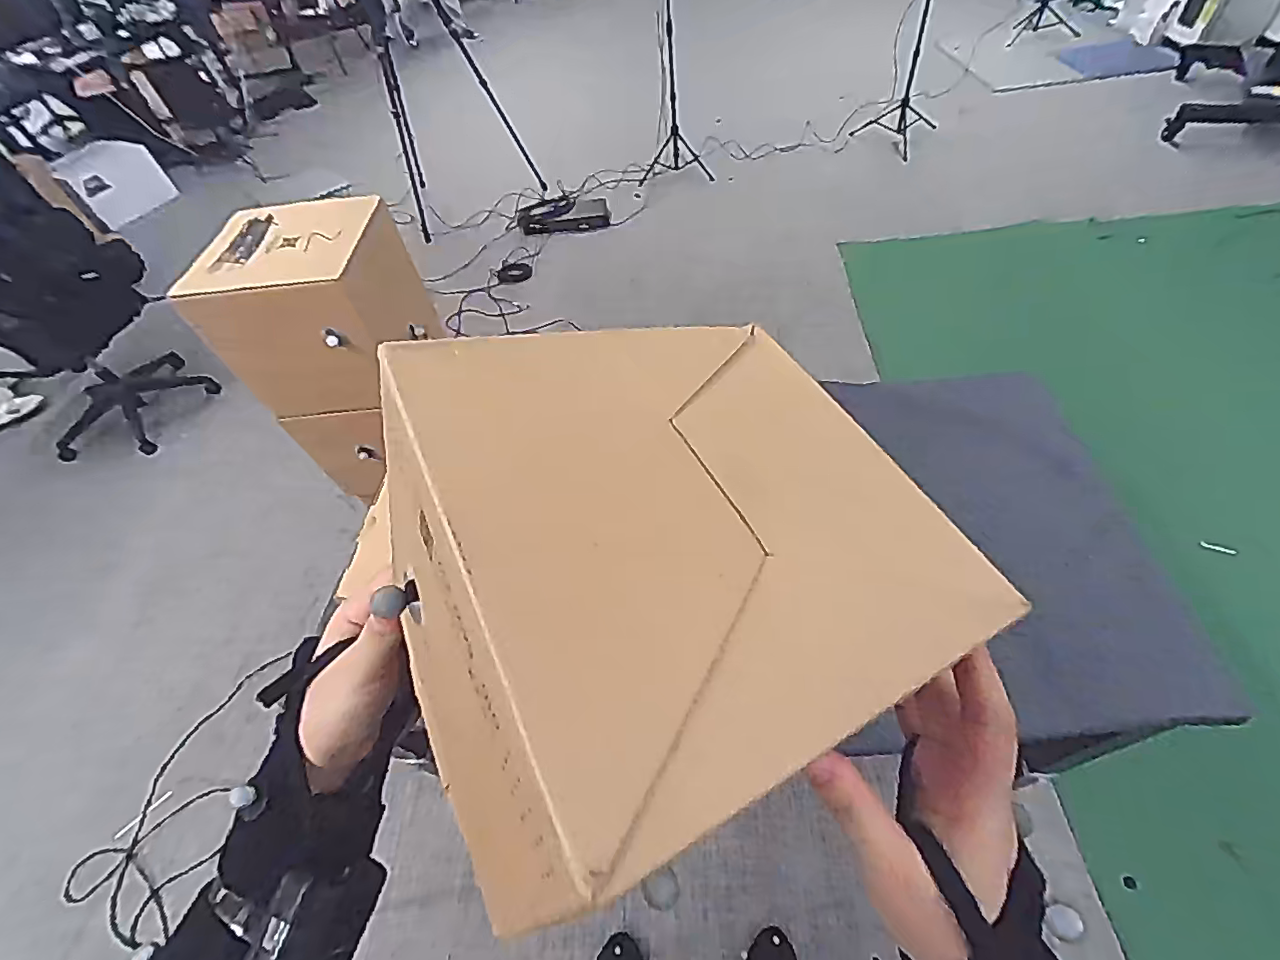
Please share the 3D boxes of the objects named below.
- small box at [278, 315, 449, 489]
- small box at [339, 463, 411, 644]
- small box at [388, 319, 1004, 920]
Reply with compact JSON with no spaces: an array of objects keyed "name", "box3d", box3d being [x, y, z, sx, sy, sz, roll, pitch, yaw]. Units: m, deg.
[{"name":"small box","box3d":[-0.347,-0.104,0.759,0.179,0.176,0.168,-6,54,5]},{"name":"small box","box3d":[-0.176,0.083,0.591,0.179,0.176,0.168,-2,53,7]},{"name":"small box","box3d":[0.000,0.047,0.238,0.179,0.176,0.168,-14,58,-30]}]
